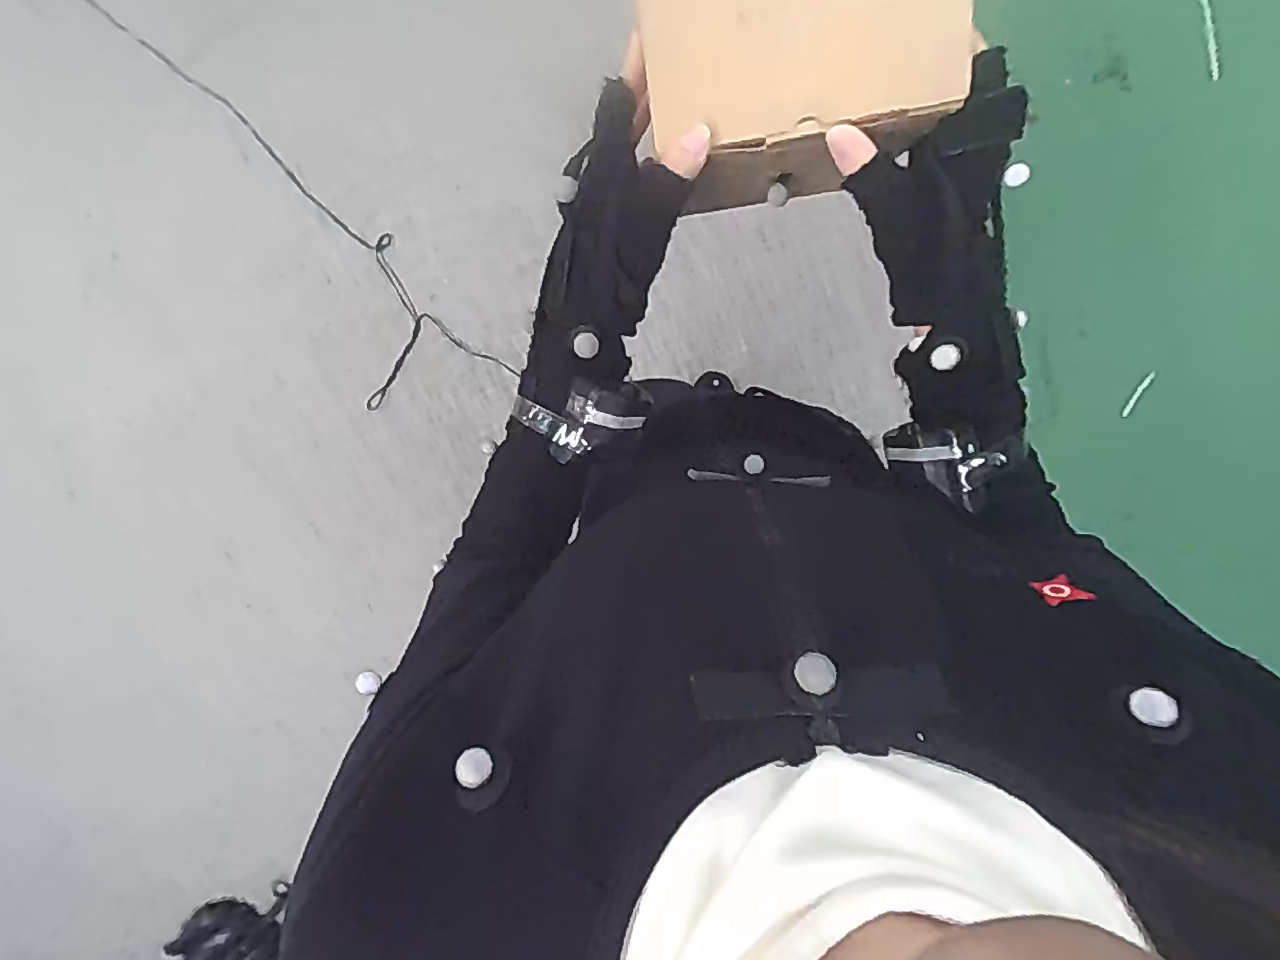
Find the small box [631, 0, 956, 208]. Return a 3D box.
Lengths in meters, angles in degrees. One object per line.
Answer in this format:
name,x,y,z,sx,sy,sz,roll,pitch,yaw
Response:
small box,0.081,-0.289,0.351,0.168,0.176,0.179,-8,107,6
